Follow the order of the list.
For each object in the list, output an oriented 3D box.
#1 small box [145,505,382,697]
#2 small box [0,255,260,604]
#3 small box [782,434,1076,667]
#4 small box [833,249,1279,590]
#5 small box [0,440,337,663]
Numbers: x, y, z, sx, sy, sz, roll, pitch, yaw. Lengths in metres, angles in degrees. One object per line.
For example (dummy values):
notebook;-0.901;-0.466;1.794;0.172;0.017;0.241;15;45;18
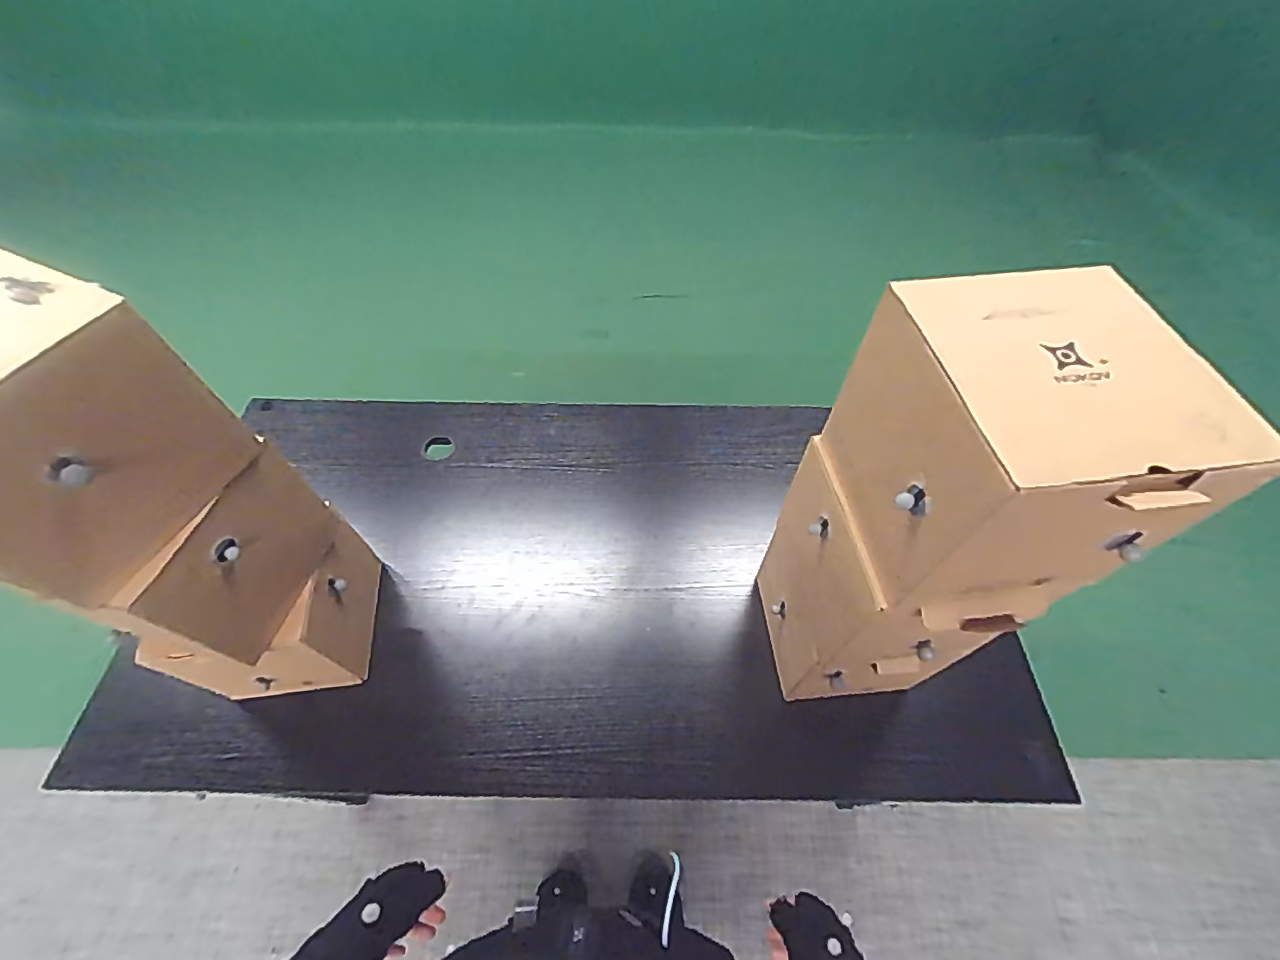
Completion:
small box;-0.440;0.153;0.672;0.168;0.176;0.179;-6;58;-5
small box;-0.443;-0.033;0.400;0.168;0.176;0.179;21;60;12
small box;0.253;0.067;0.533;0.168;0.176;0.179;-6;57;-4
small box;0.261;-0.033;0.383;0.168;0.176;0.179;-6;56;-4
small box;-0.443;0.063;0.534;0.168;0.176;0.179;12;57;7
